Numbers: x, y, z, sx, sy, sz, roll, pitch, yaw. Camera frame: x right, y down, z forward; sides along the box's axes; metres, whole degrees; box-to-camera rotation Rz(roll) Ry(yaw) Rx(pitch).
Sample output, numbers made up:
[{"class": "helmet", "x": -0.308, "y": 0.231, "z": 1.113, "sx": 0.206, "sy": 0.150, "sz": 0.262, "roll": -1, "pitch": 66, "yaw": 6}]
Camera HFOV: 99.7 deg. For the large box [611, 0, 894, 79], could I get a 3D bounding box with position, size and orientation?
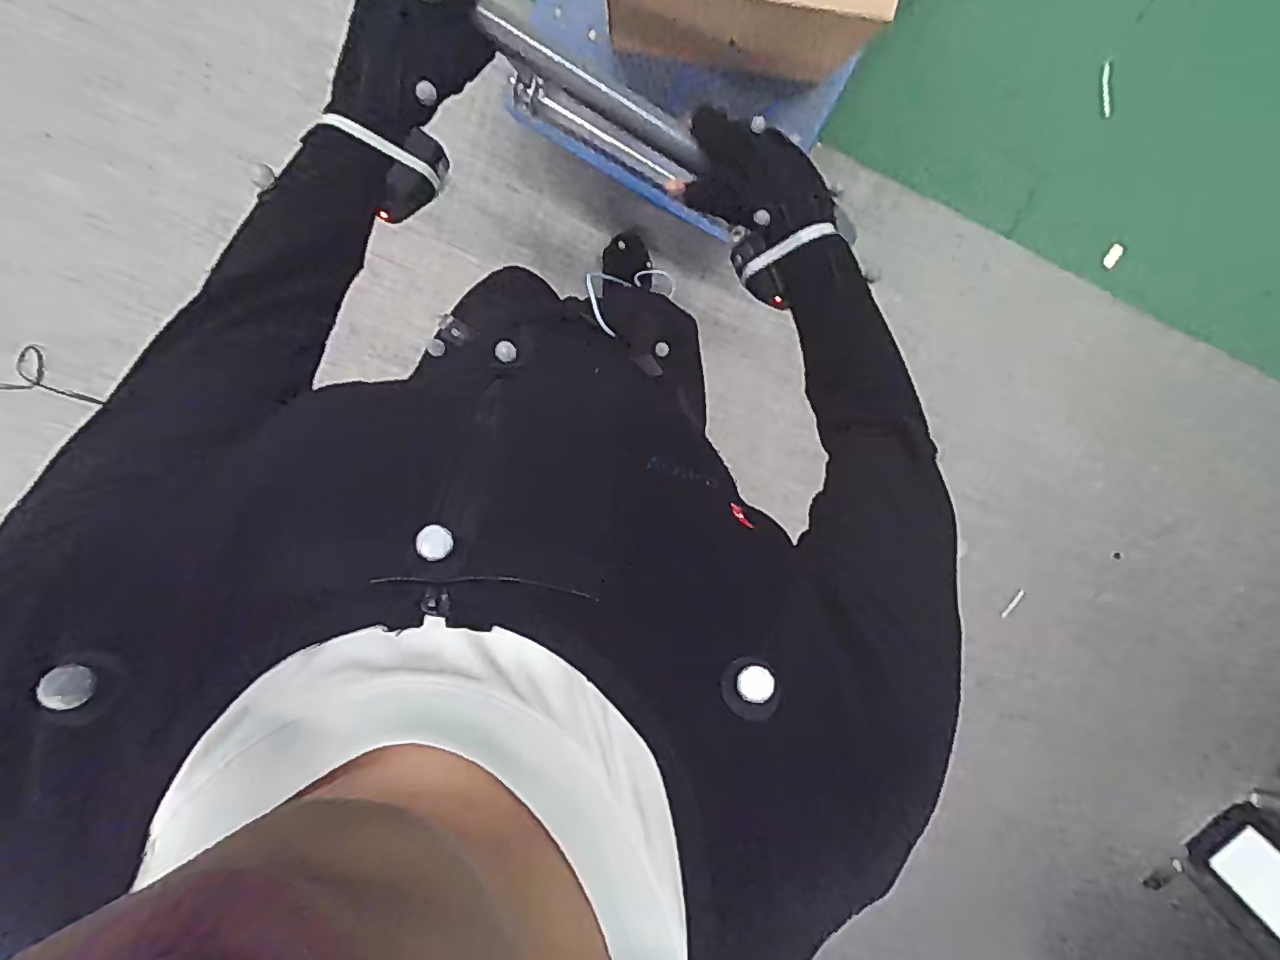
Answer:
[{"class": "large box", "x": 0.173, "y": -0.861, "z": 0.826, "sx": 0.408, "sy": 0.320, "sz": 0.320, "roll": 7, "pitch": 112, "yaw": -4}]
